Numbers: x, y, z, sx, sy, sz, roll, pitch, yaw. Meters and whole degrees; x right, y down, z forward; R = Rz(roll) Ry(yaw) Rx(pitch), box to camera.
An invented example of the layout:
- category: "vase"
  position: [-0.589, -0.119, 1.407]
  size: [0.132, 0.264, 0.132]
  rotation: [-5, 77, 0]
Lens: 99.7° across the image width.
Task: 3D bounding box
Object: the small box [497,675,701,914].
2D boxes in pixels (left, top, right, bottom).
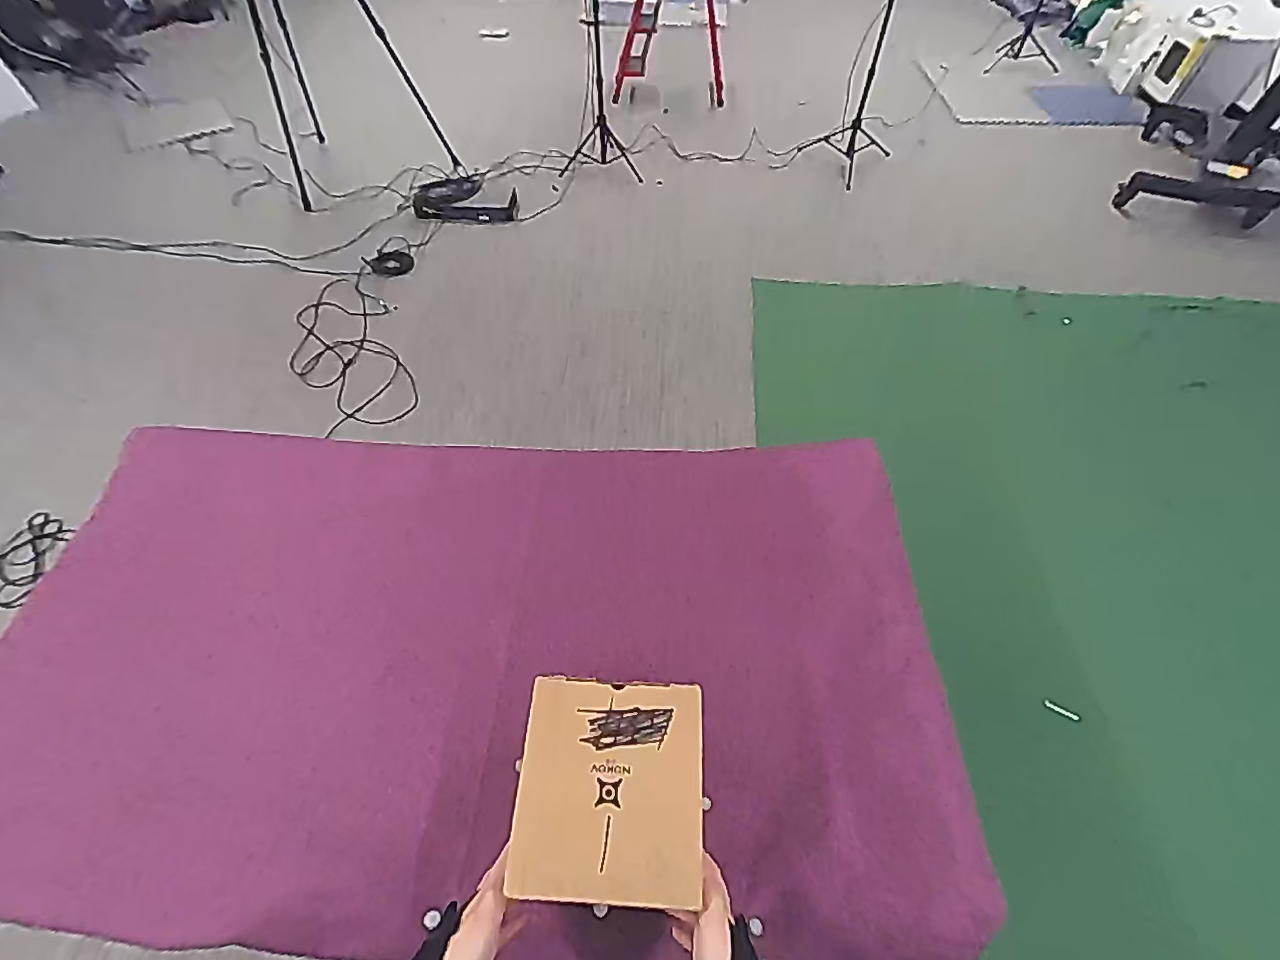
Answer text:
- category: "small box"
  position: [-0.029, 0.311, 0.541]
  size: [0.168, 0.176, 0.179]
  rotation: [3, 56, 2]
